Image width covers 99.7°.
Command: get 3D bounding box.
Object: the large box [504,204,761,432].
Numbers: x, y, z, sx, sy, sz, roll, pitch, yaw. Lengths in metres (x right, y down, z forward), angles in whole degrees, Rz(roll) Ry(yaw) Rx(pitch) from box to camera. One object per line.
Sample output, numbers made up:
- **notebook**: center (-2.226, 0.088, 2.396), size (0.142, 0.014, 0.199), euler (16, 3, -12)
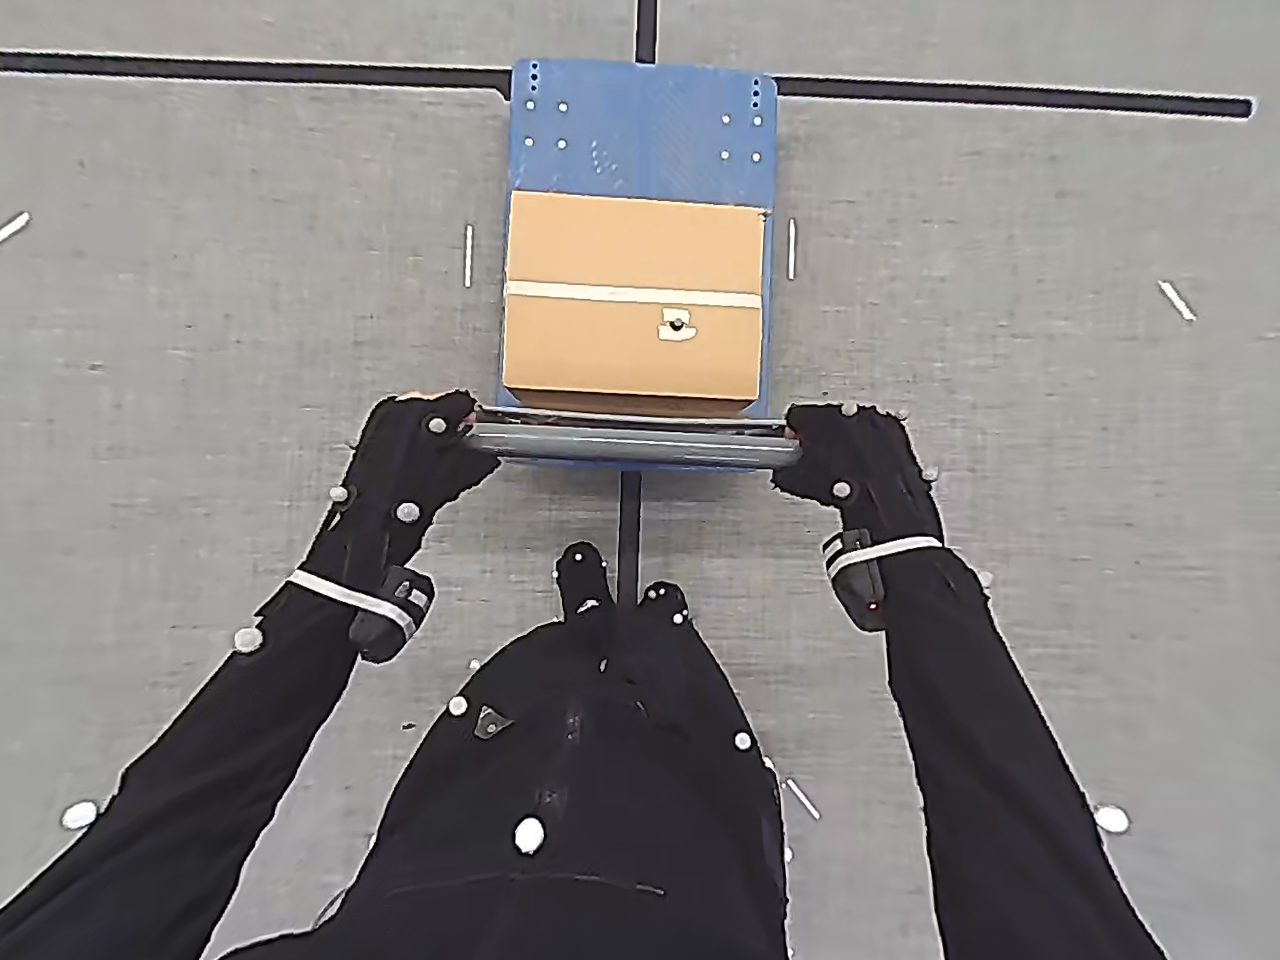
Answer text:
- **large box**: center (-0.019, -0.265, 0.995), size (0.408, 0.320, 0.320), euler (3, 88, -4)
